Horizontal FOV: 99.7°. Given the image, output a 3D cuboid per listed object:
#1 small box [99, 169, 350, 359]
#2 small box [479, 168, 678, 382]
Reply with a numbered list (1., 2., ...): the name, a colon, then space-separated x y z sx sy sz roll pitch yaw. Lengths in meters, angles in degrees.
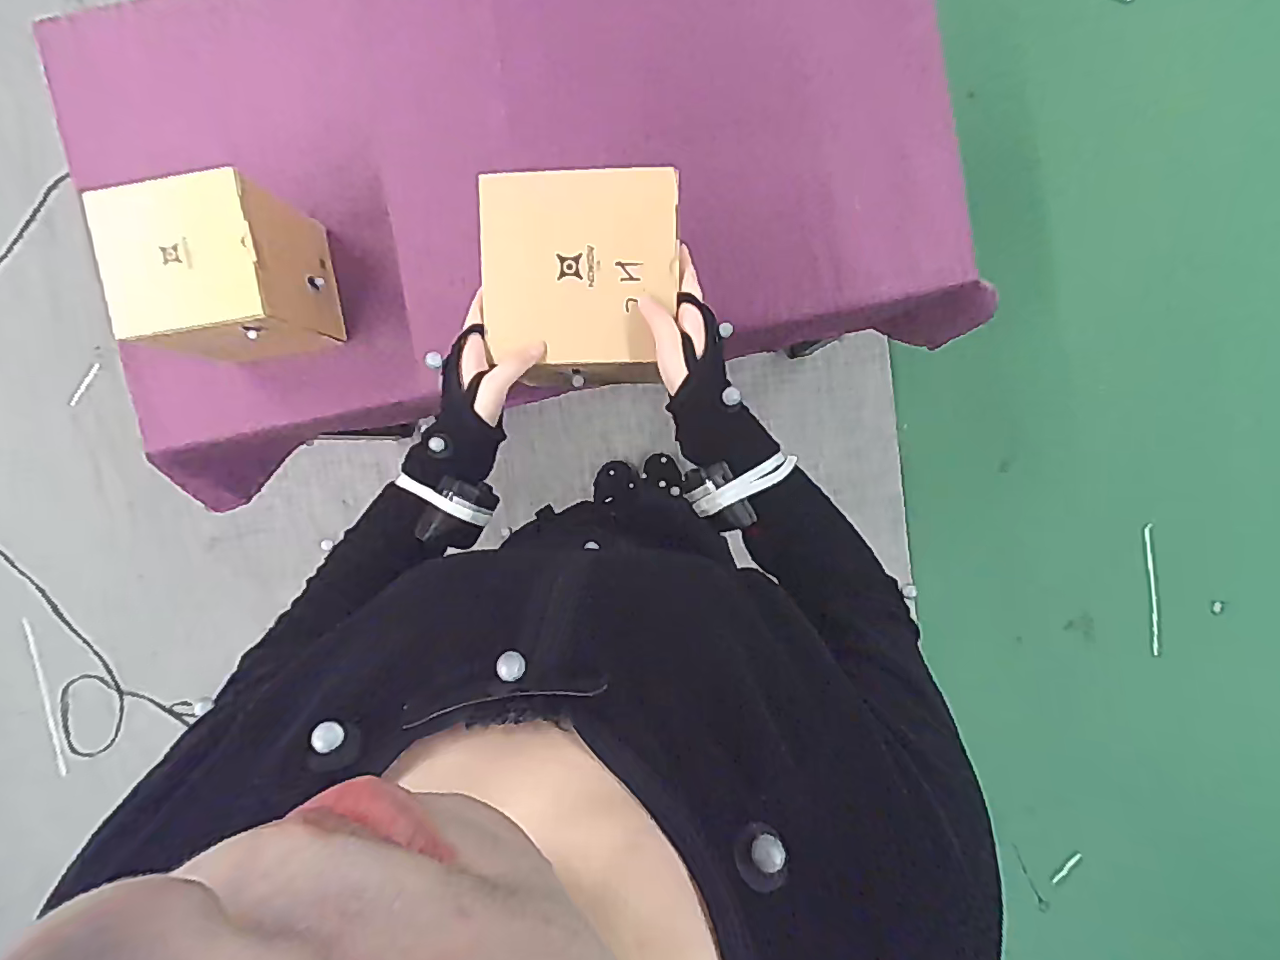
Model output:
1. small box: -0.513 -0.259 0.692 0.179 0.176 0.168 -10 93 1
2. small box: -0.050 -0.192 0.554 0.179 0.176 0.168 0 94 3
